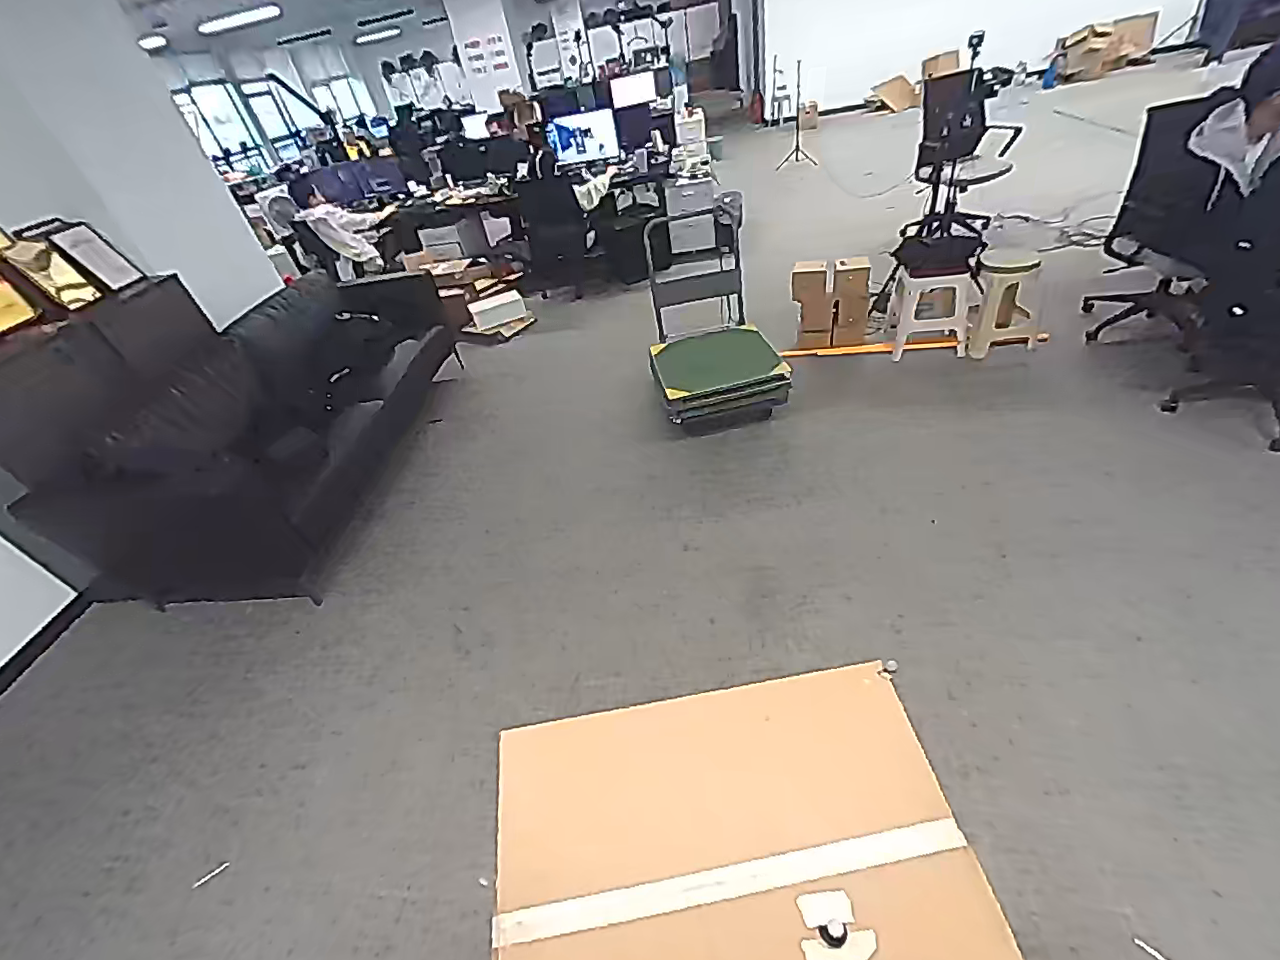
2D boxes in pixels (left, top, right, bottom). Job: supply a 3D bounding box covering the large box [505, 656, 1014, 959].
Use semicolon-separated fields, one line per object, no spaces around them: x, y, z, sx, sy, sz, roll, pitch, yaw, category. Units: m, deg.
0.089;0.434;0.587;0.408;0.320;0.320;-9;51;-4;large box
